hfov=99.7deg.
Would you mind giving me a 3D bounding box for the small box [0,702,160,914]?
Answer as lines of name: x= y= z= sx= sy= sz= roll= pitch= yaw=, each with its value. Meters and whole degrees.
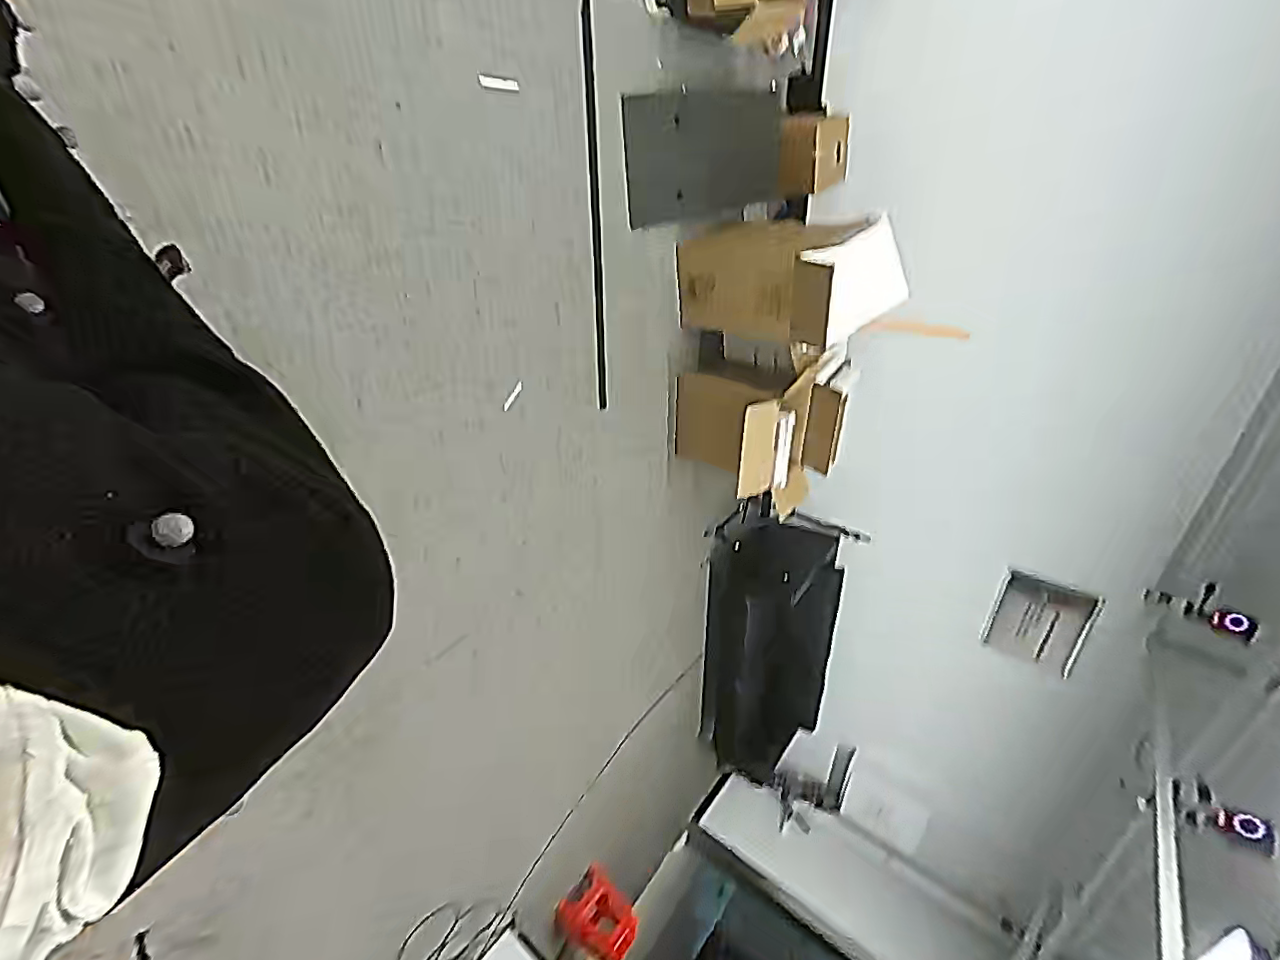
small box: x=-0.860 y=0.473 z=0.812 sx=0.179 sy=0.176 sz=0.168 roll=-11 pitch=117 yaw=-51
